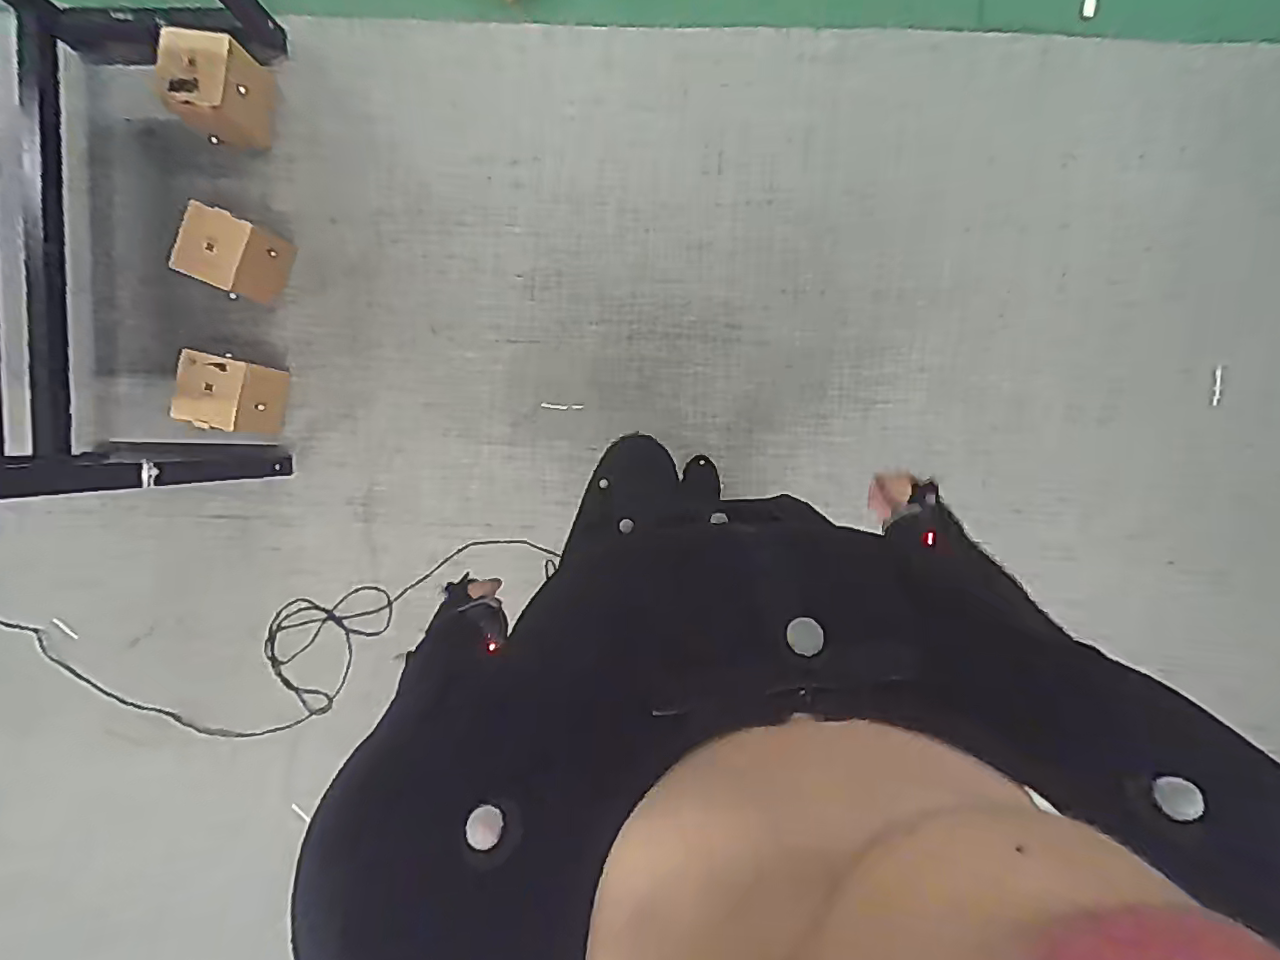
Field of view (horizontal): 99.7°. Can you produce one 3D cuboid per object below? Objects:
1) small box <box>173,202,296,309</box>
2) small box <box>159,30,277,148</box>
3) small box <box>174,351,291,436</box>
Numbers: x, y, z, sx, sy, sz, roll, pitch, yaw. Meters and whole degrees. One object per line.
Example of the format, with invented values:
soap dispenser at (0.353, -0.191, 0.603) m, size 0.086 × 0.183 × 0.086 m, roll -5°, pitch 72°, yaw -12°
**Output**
small box at (-1.022, -0.563, 1.380) m, size 0.168 × 0.176 × 0.179 m, roll 22°, pitch 95°, yaw 0°
small box at (-1.047, -0.969, 1.355) m, size 0.168 × 0.176 × 0.179 m, roll 7°, pitch 93°, yaw 0°
small box at (-1.047, -0.218, 1.402) m, size 0.168 × 0.176 × 0.179 m, roll 14°, pitch 94°, yaw 0°
